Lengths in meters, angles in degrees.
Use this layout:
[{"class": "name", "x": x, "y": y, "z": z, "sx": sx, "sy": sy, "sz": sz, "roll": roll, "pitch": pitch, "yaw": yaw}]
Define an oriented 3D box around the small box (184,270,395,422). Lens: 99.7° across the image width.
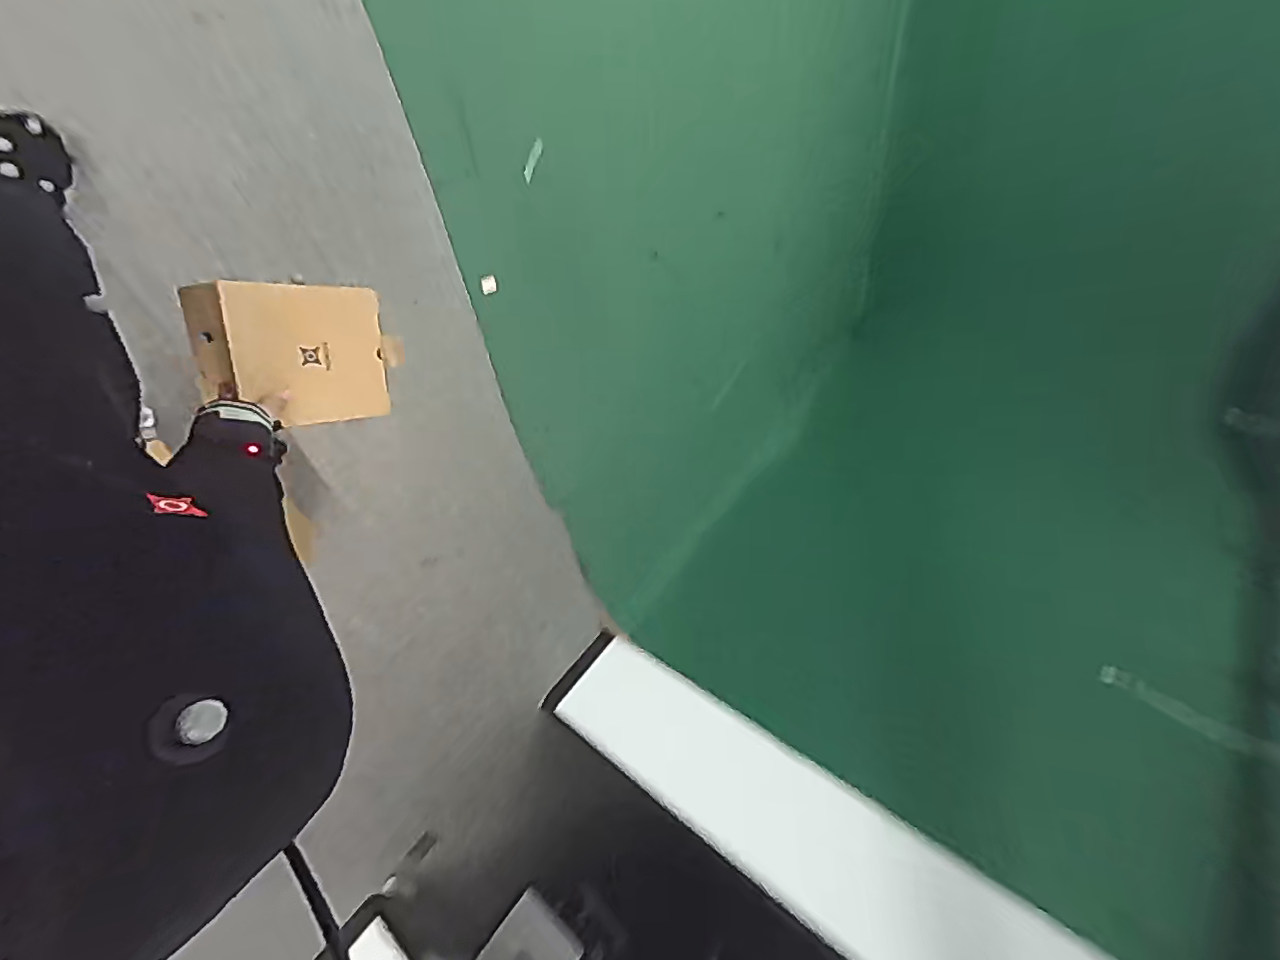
[{"class": "small box", "x": -0.452, "y": -0.173, "z": 0.699, "sx": 0.179, "sy": 0.176, "sz": 0.168, "roll": -21, "pitch": 116, "yaw": -49}]
